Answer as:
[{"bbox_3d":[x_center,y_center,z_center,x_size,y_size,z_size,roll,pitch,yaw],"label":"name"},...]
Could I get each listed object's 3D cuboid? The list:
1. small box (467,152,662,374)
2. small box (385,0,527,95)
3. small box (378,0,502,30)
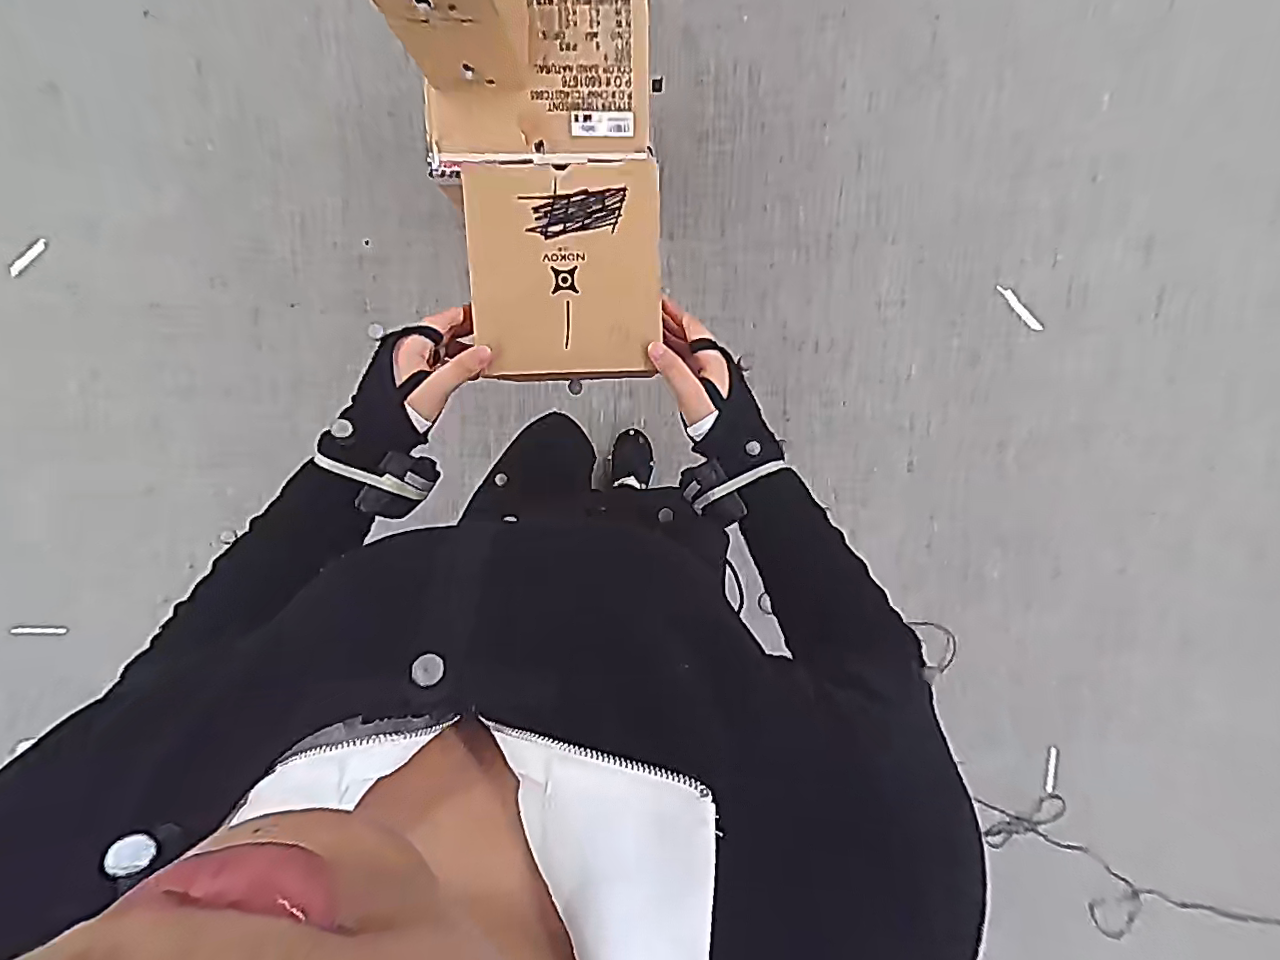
[{"bbox_3d":[-0.066,-0.201,0.546,0.168,0.176,0.179,-2,99,-2],"label":"small box"},{"bbox_3d":[-0.274,-0.733,0.829,0.168,0.176,0.179,1,98,1],"label":"small box"},{"bbox_3d":[-0.274,-0.710,0.668,0.168,0.176,0.179,1,99,2],"label":"small box"}]
